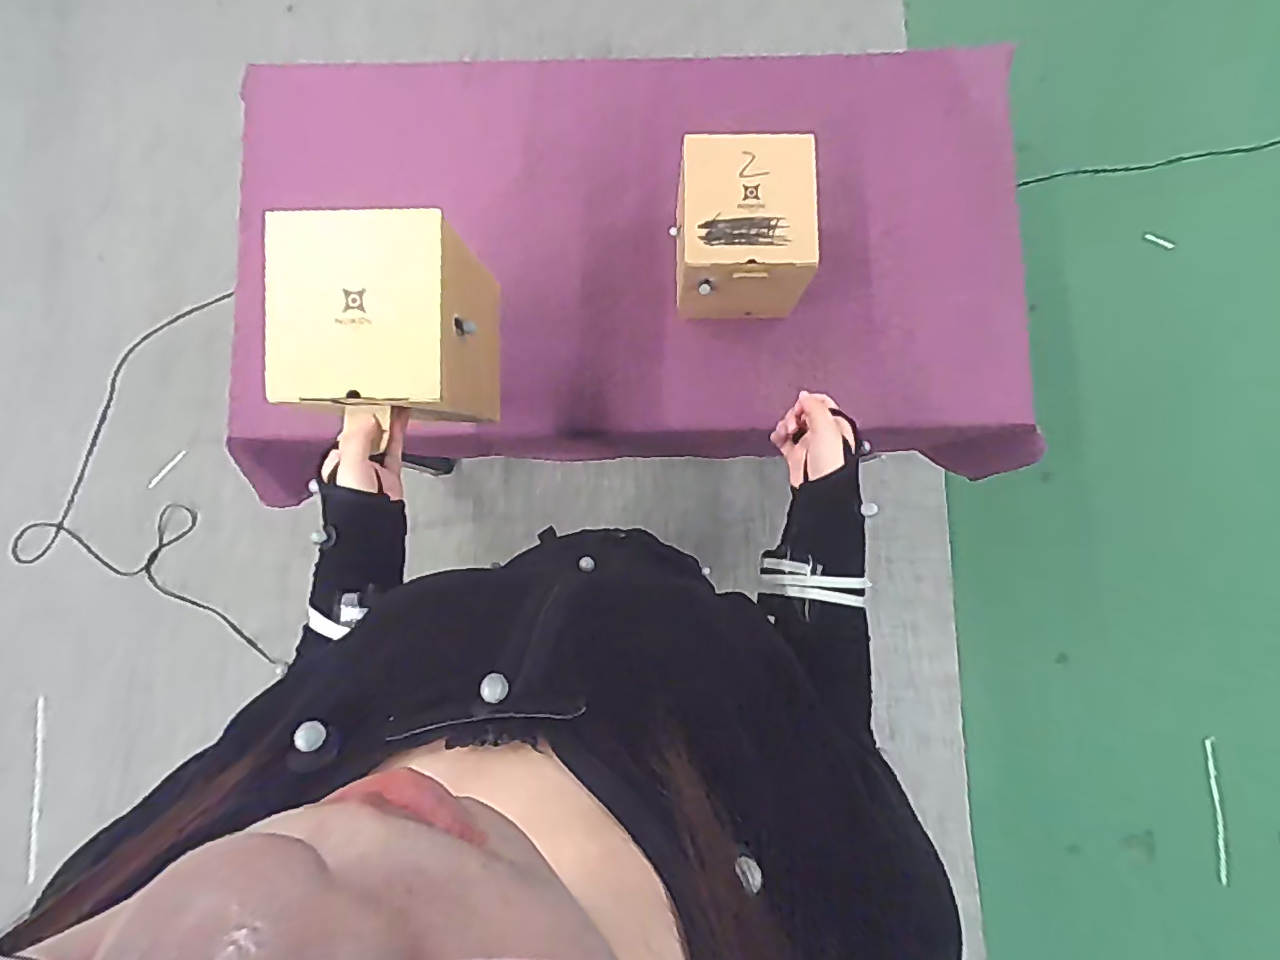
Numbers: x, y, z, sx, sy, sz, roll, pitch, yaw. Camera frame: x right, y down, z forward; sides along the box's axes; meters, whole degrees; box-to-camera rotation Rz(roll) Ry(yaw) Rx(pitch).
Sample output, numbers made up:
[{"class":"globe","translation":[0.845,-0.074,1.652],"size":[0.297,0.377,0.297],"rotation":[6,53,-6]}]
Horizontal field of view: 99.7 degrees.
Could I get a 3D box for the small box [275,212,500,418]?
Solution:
[{"class":"small box","translation":[-0.258,-0.164,0.587],"size":[0.168,0.176,0.179],"rotation":[1,91,3]}]
